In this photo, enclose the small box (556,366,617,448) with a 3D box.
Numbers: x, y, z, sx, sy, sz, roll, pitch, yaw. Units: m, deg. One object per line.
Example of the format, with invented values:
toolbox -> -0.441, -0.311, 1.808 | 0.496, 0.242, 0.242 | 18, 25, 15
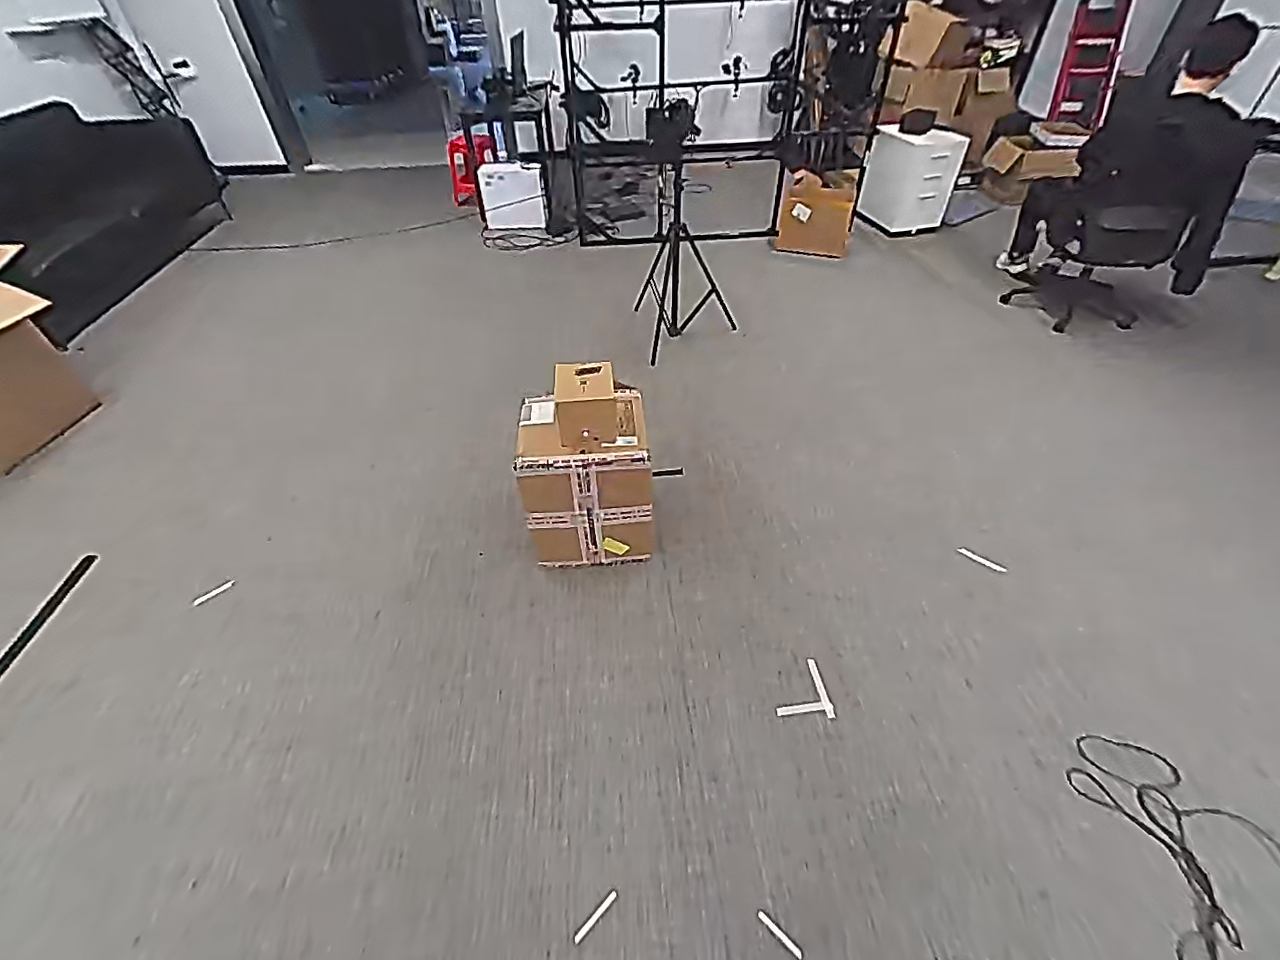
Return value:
small box -> -0.155, -0.214, 1.590 | 0.168, 0.176, 0.179 | -4, 47, -2
